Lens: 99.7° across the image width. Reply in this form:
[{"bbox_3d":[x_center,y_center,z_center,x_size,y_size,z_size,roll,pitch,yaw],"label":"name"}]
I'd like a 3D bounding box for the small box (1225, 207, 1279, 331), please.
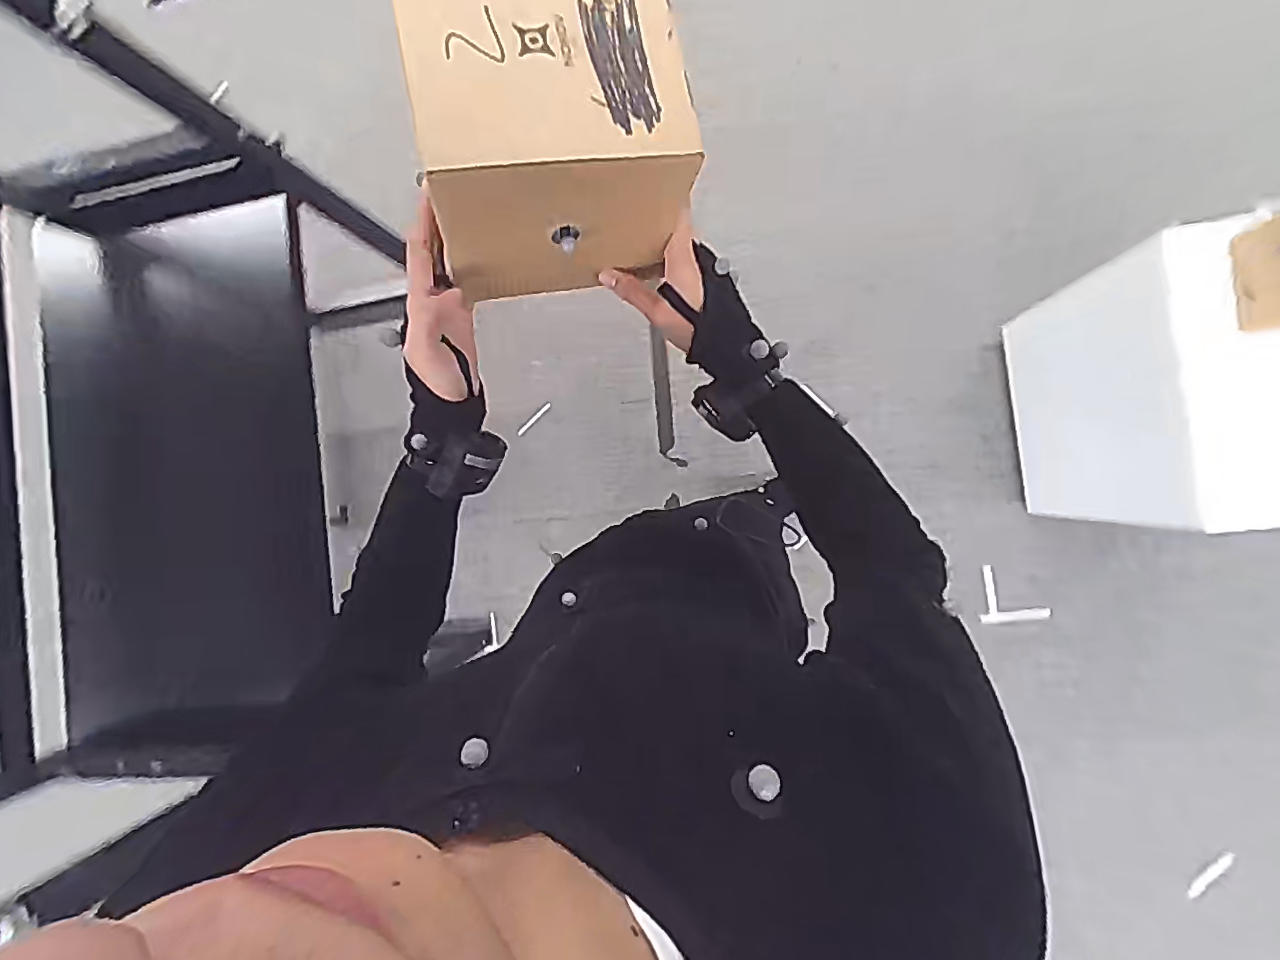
[{"bbox_3d":[1.035,-0.332,0.803,0.179,0.176,0.168,-6,89,9],"label":"small box"}]
